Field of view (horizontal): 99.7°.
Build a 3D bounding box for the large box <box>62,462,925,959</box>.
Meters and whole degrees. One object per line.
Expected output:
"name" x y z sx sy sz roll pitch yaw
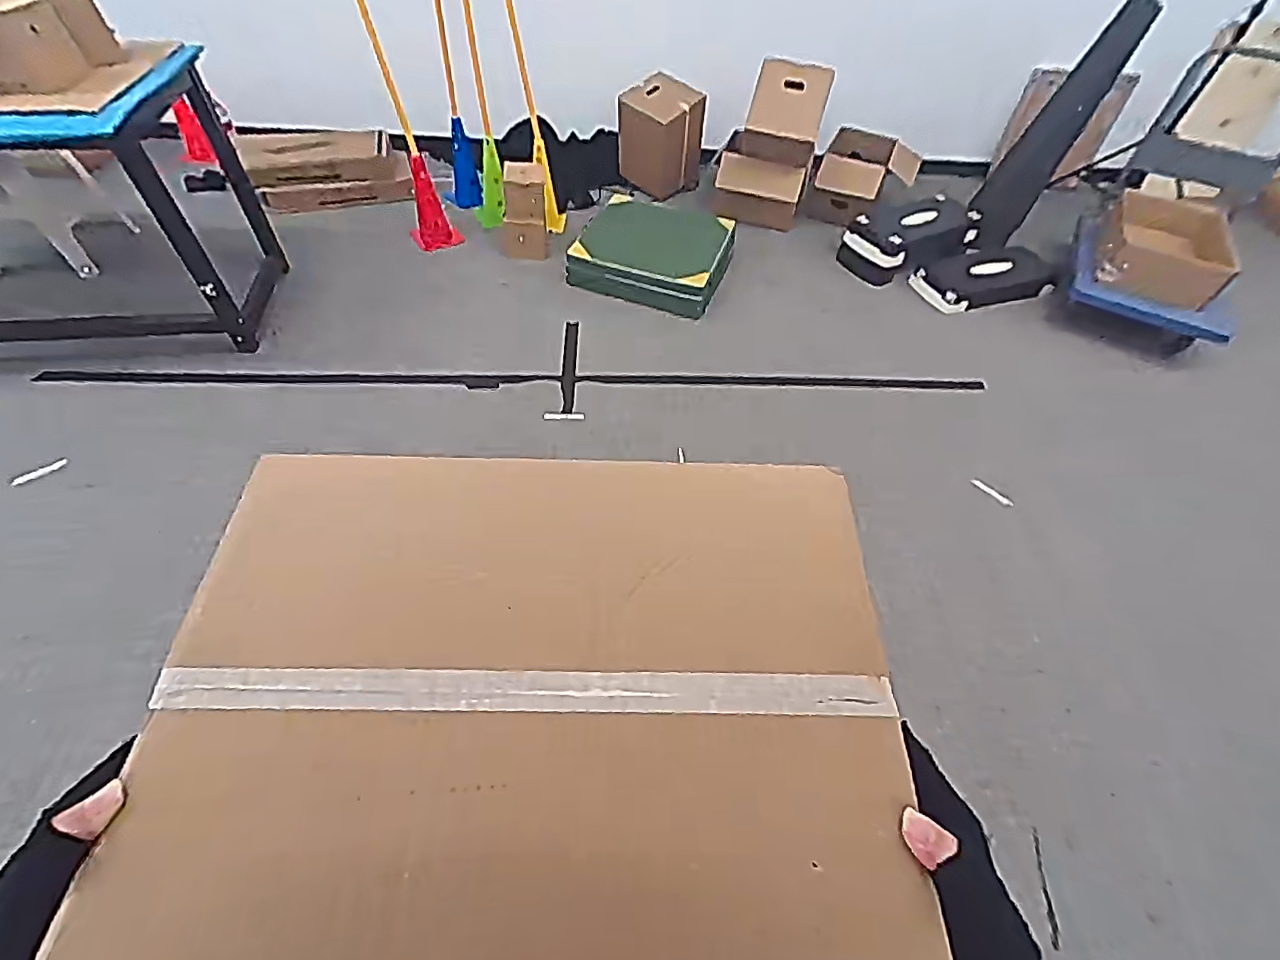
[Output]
"large box" -0.069 0.198 0.440 0.408 0.320 0.320 1 59 -1
